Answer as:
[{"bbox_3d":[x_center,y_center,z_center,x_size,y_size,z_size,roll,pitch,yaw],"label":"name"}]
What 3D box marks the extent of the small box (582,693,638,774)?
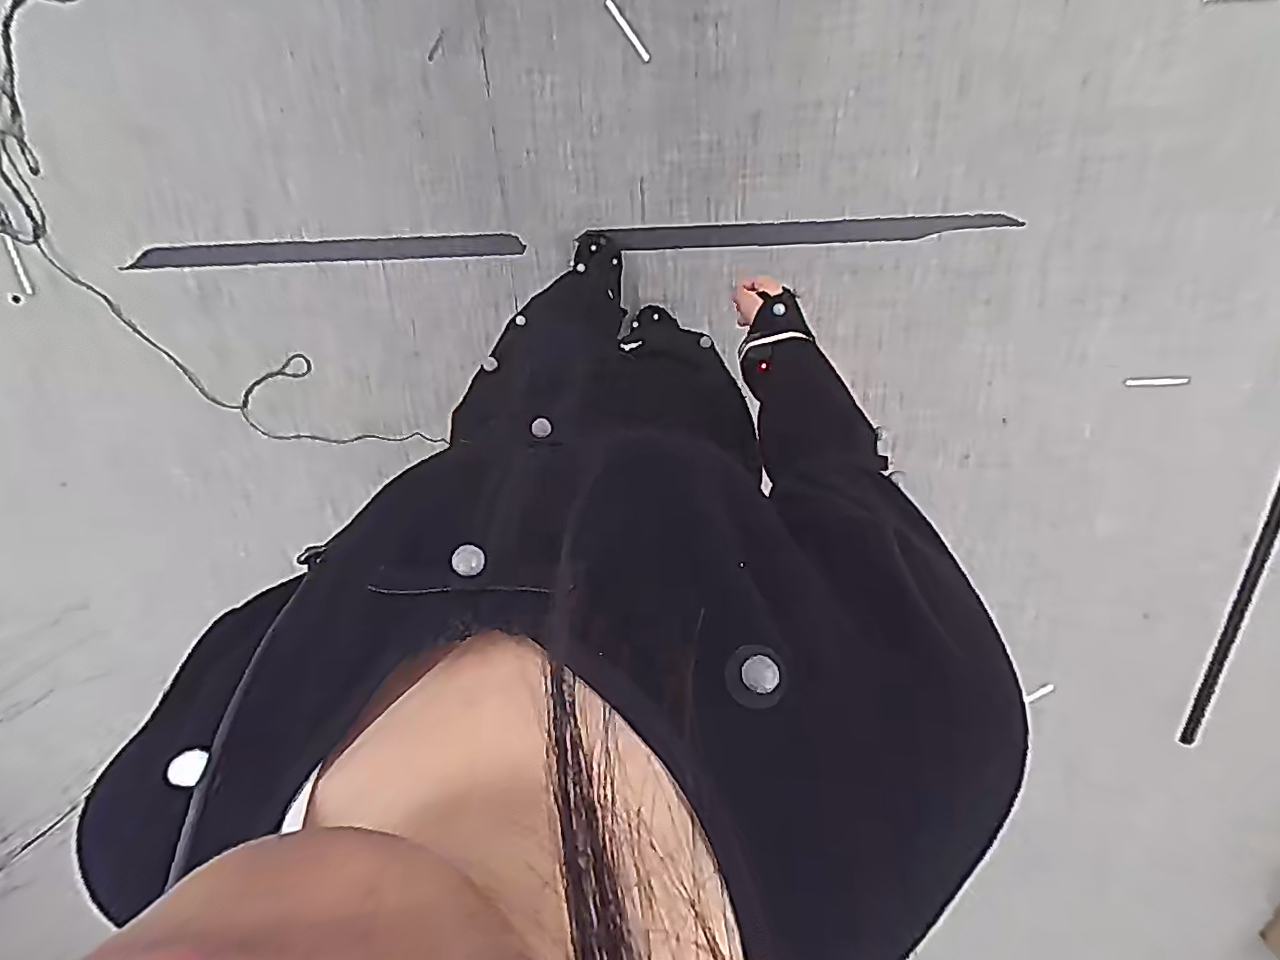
[{"bbox_3d":[-0.094,0.810,1.740,0.168,0.176,0.179,1,111,3],"label":"small box"}]
